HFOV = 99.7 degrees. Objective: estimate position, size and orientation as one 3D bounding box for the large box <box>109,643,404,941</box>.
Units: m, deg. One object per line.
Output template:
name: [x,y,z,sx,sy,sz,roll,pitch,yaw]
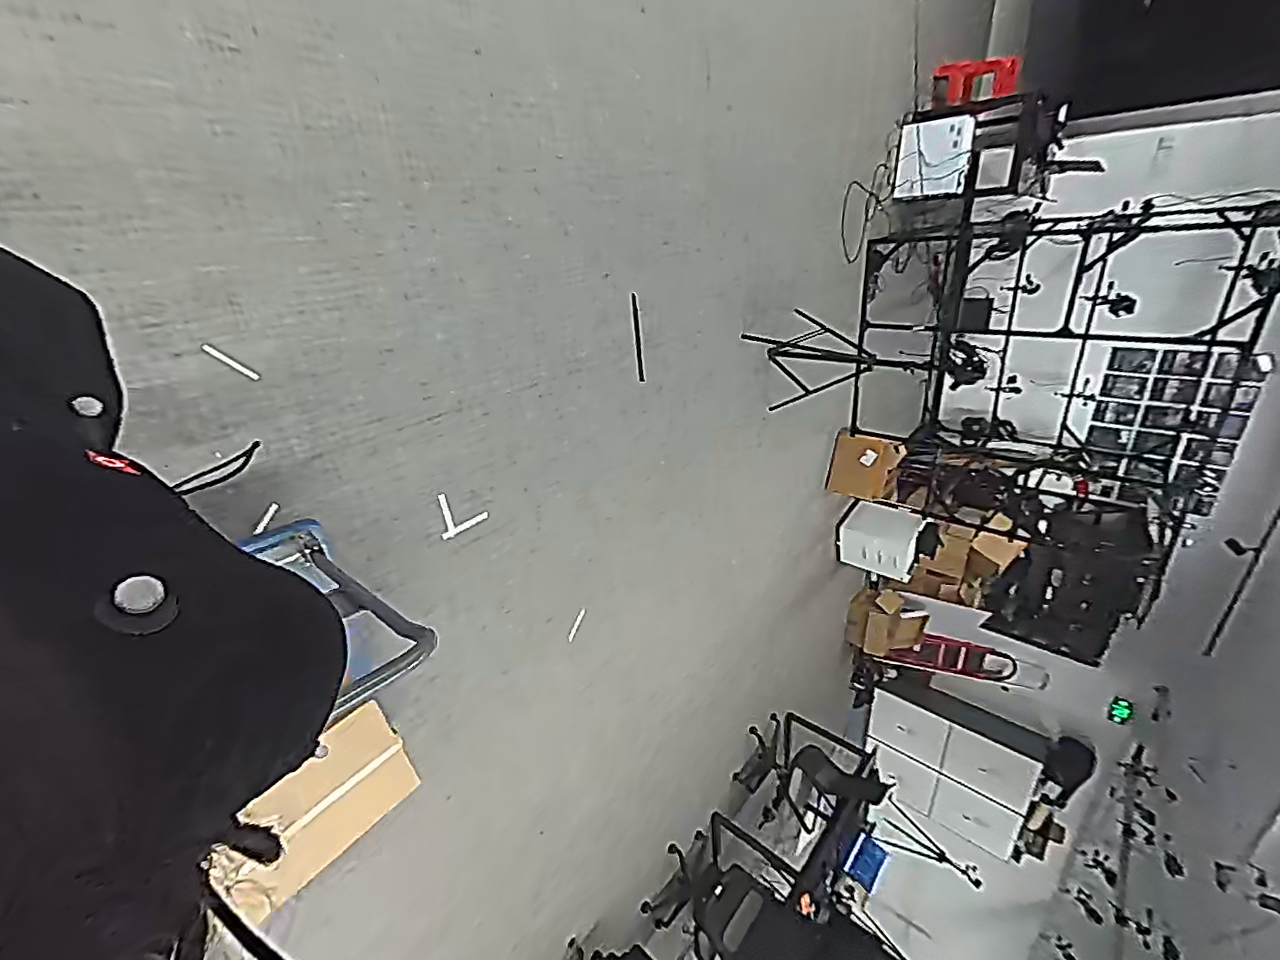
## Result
large box: [-0.823,0.649,1.197,0.408,0.320,0.320,-34,126,-38]
